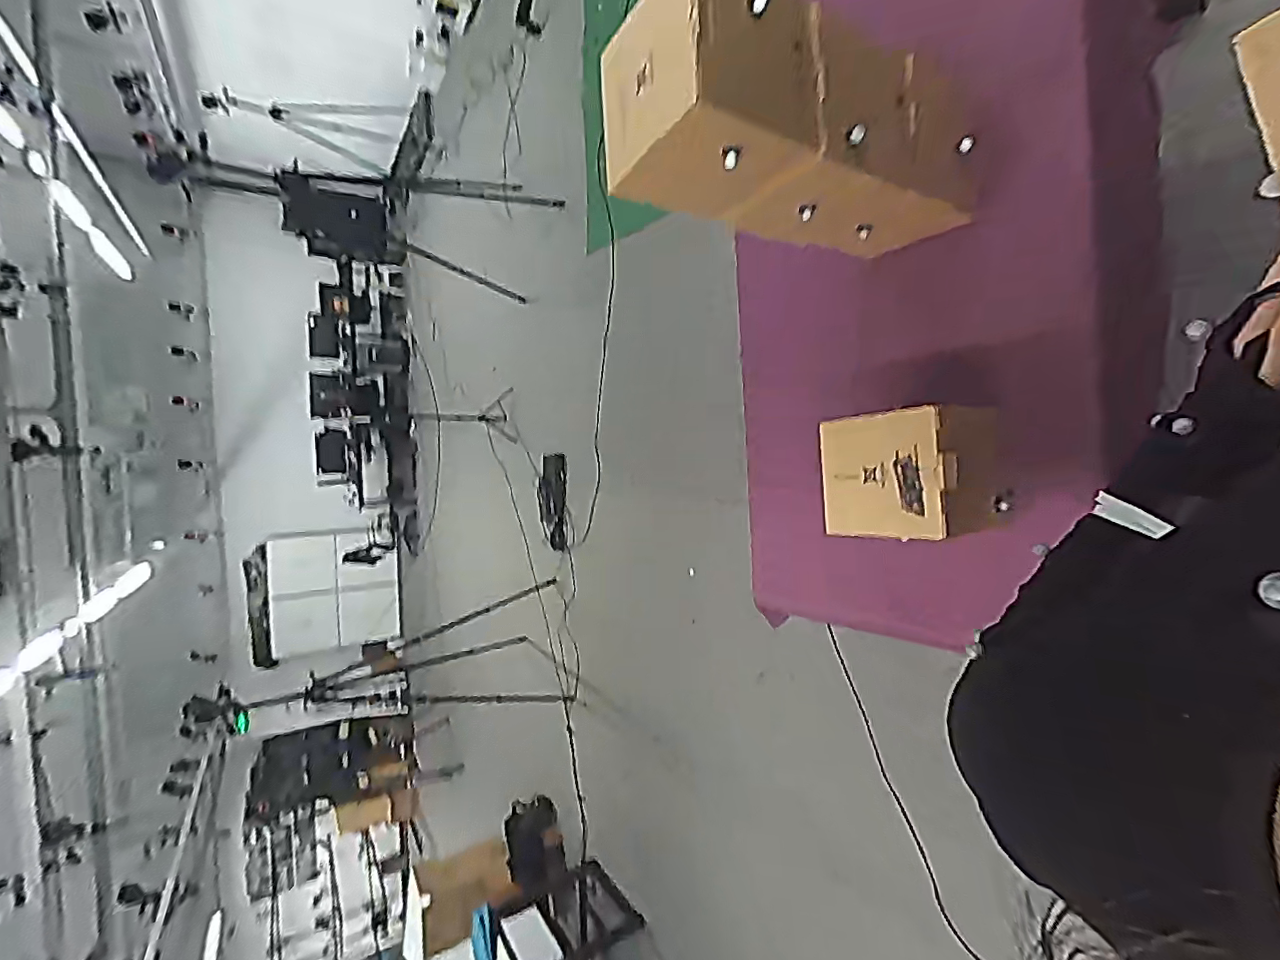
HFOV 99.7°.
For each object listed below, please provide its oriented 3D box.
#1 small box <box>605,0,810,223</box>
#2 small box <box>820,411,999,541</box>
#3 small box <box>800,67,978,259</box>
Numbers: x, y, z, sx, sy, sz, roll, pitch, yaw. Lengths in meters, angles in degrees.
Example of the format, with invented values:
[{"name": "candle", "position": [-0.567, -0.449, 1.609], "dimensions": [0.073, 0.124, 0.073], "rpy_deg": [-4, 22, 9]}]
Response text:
[{"name": "small box", "position": [0.078, -0.422, 0.619], "dimensions": [0.179, 0.176, 0.168], "rpy_deg": [-4, 89, 58]}, {"name": "small box", "position": [0.389, -0.007, 0.778], "dimensions": [0.179, 0.176, 0.168], "rpy_deg": [-5, 88, 58]}, {"name": "small box", "position": [0.358, -0.439, 0.788], "dimensions": [0.179, 0.176, 0.168], "rpy_deg": [2, 95, 57]}]
